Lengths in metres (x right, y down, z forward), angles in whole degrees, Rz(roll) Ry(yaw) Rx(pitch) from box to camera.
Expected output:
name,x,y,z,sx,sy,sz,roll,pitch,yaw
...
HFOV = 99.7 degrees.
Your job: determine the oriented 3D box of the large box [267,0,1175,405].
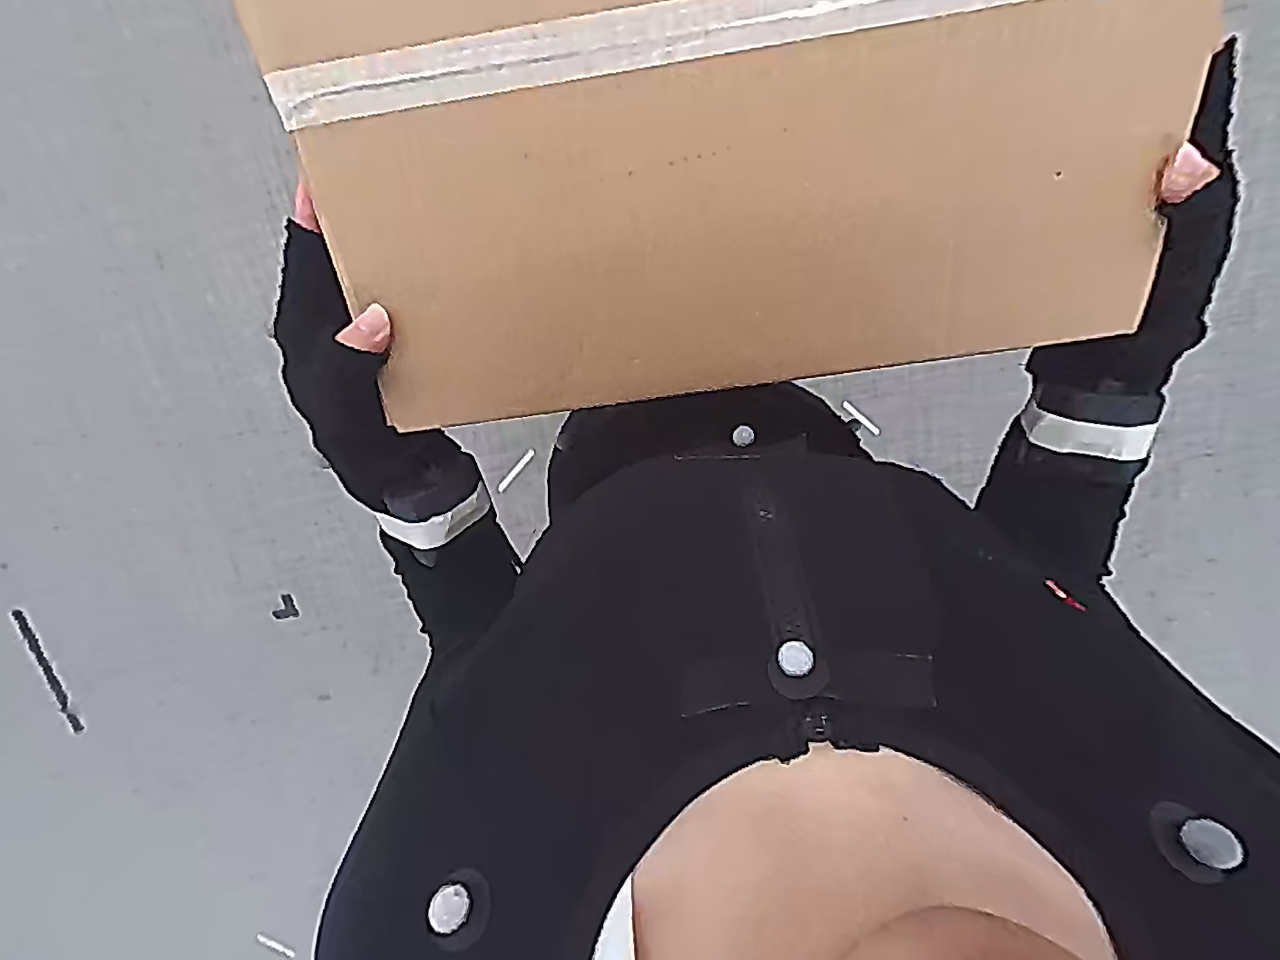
name,x,y,z,sx,sy,sz,roll,pitch,yaw
large box,0.033,-0.268,0.376,0.408,0.320,0.320,-8,115,3
